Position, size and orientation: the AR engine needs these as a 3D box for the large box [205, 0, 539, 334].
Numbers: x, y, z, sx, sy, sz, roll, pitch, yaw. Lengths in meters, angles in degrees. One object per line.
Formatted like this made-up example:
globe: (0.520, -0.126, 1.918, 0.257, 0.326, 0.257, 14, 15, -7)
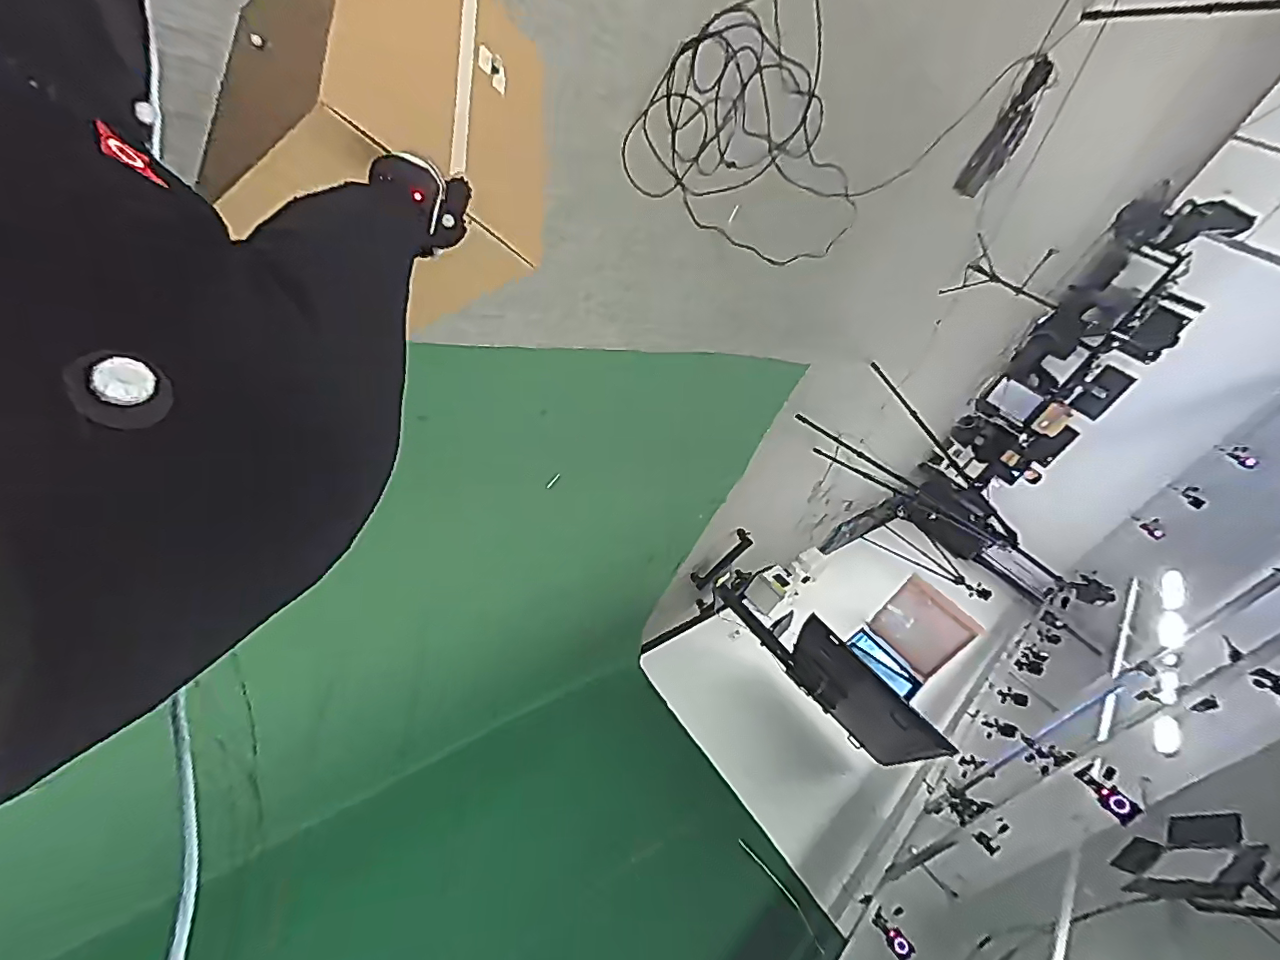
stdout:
large box: (-0.364, -0.492, 0.789, 0.320, 0.408, 0.320, -12, 161, 29)
